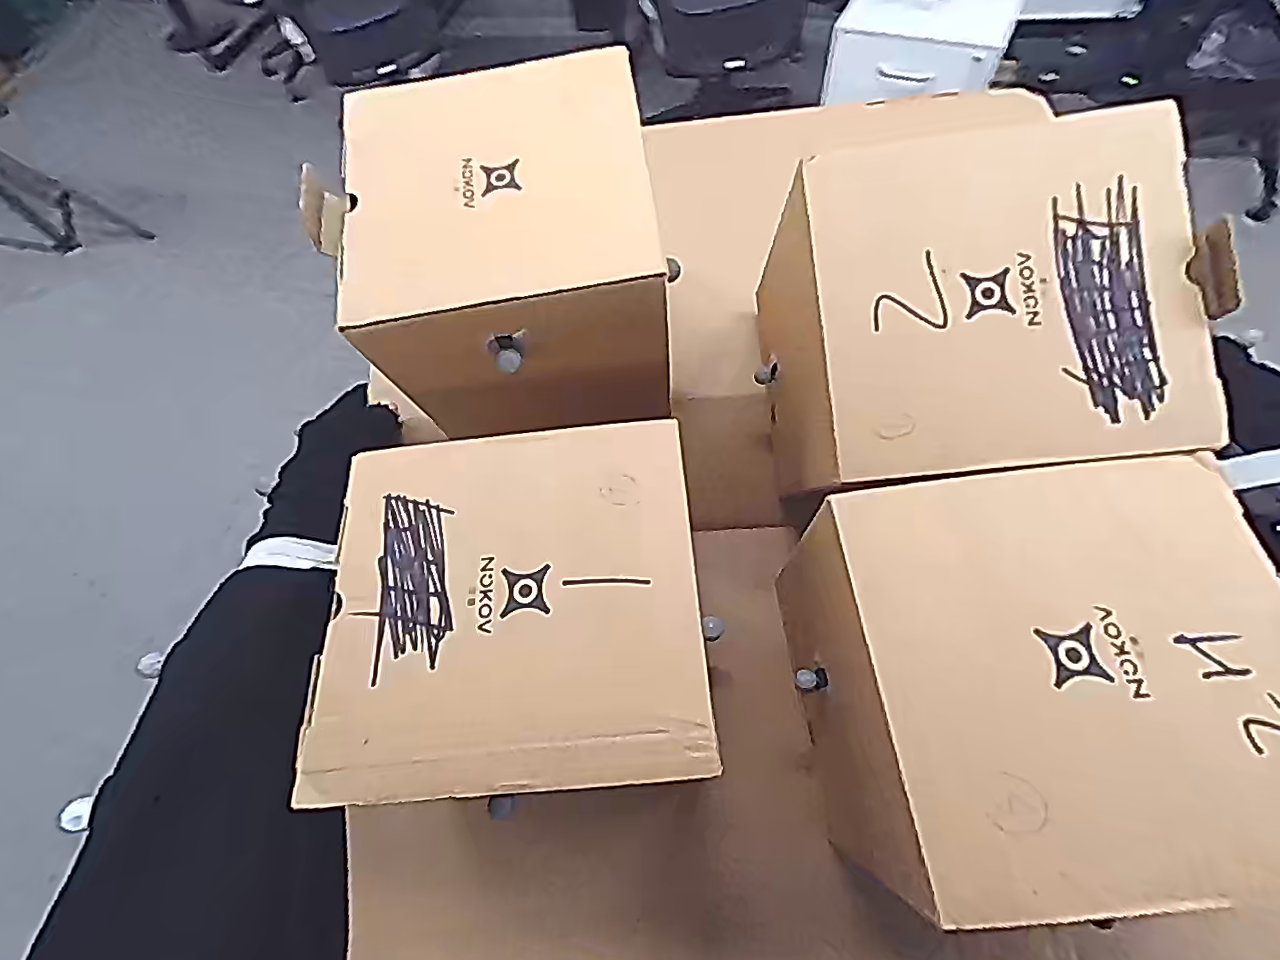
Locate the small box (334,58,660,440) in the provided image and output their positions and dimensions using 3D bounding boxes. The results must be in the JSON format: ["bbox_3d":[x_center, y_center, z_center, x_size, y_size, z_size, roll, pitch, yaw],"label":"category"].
[{"bbox_3d":[-0.082,-0.142,0.384,0.179,0.176,0.168,-10,72,3],"label":"small box"}]
